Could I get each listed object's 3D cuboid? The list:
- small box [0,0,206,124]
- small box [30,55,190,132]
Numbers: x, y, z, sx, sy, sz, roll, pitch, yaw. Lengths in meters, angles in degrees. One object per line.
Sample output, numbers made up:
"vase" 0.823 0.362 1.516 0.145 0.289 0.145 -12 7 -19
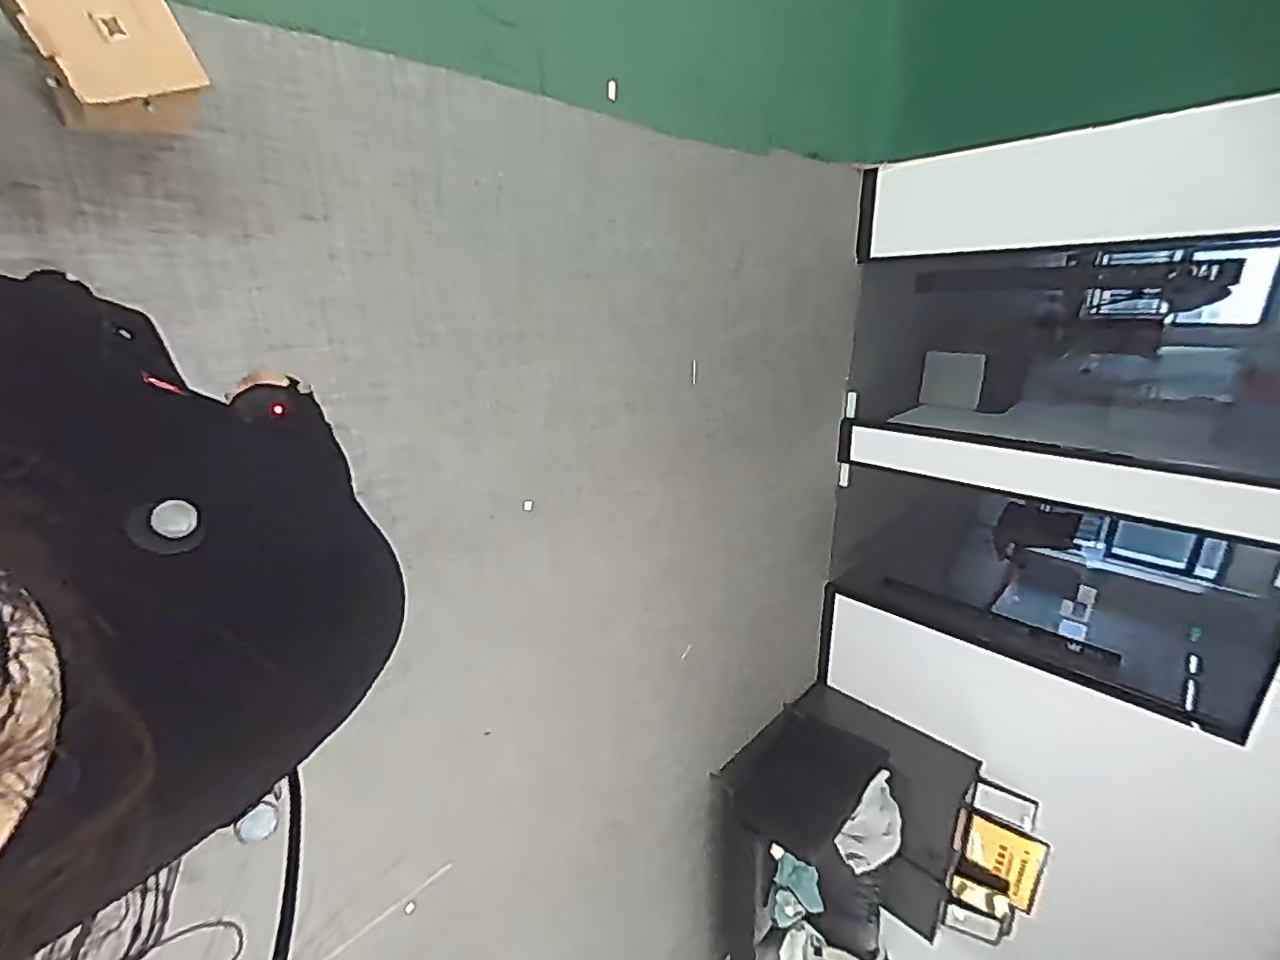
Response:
"small box" -0.817 -0.665 0.822 0.179 0.176 0.168 -40 130 -31
"small box" -0.925 -0.714 0.933 0.179 0.176 0.168 -27 122 -39
